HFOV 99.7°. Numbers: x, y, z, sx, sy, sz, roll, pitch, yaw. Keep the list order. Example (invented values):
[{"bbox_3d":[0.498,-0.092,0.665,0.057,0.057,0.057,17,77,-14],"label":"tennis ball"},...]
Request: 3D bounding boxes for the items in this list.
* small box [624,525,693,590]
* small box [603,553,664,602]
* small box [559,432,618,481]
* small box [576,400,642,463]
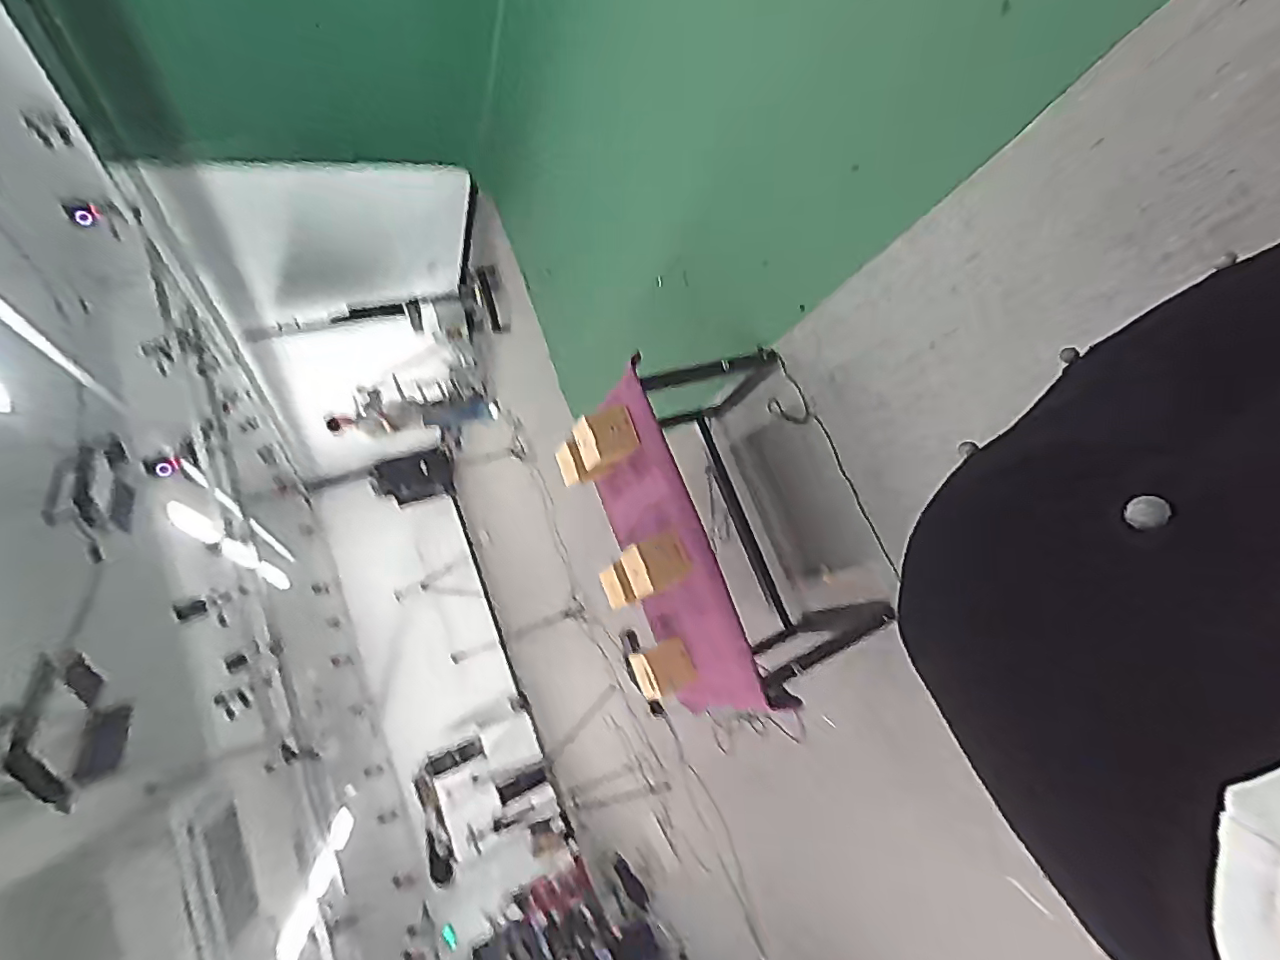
[{"bbox_3d":[0.069,0.273,1.909,0.168,0.176,0.179,68,155,12],"label":"small box"},{"bbox_3d":[-0.024,0.372,2.153,0.179,0.176,0.168,-40,69,61],"label":"small box"},{"bbox_3d":[-0.212,-0.107,2.230,0.179,0.176,0.168,-29,80,63],"label":"small box"},{"bbox_3d":[-0.110,-0.178,1.983,0.179,0.176,0.168,-29,80,65],"label":"small box"}]
